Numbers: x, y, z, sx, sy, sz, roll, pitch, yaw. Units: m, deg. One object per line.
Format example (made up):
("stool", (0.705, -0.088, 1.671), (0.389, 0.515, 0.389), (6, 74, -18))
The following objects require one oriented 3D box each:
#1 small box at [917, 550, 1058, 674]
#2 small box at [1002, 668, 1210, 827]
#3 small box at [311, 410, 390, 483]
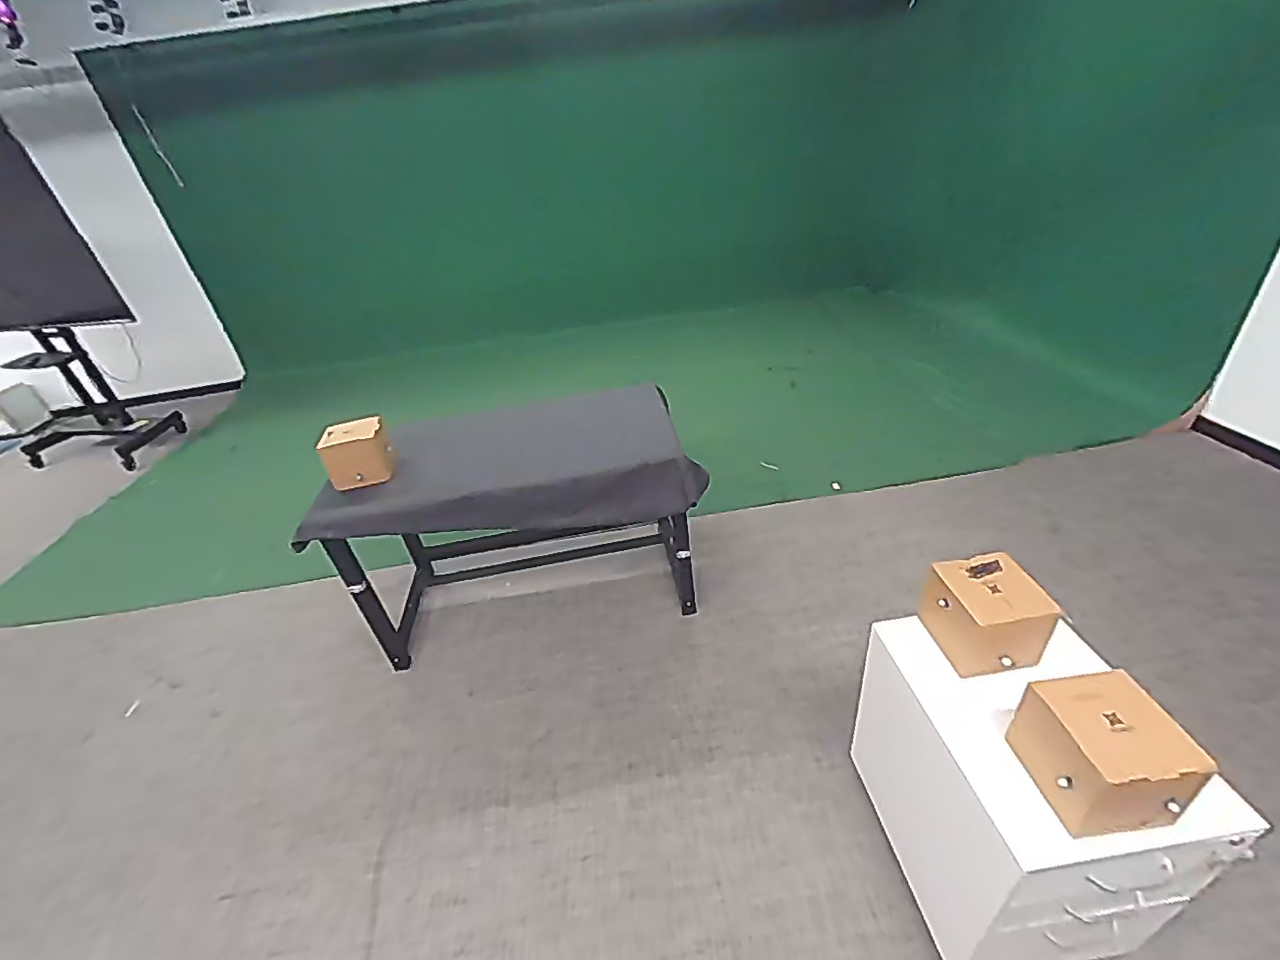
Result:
("small box", (0.715, 0.277, 1.139), (0.168, 0.176, 0.179), (-9, 36, -2))
("small box", (0.746, 0.444, 0.892), (0.168, 0.176, 0.179), (-7, 32, -2))
("small box", (-0.953, -0.110, 1.799), (0.179, 0.176, 0.168), (-12, 33, -10))
